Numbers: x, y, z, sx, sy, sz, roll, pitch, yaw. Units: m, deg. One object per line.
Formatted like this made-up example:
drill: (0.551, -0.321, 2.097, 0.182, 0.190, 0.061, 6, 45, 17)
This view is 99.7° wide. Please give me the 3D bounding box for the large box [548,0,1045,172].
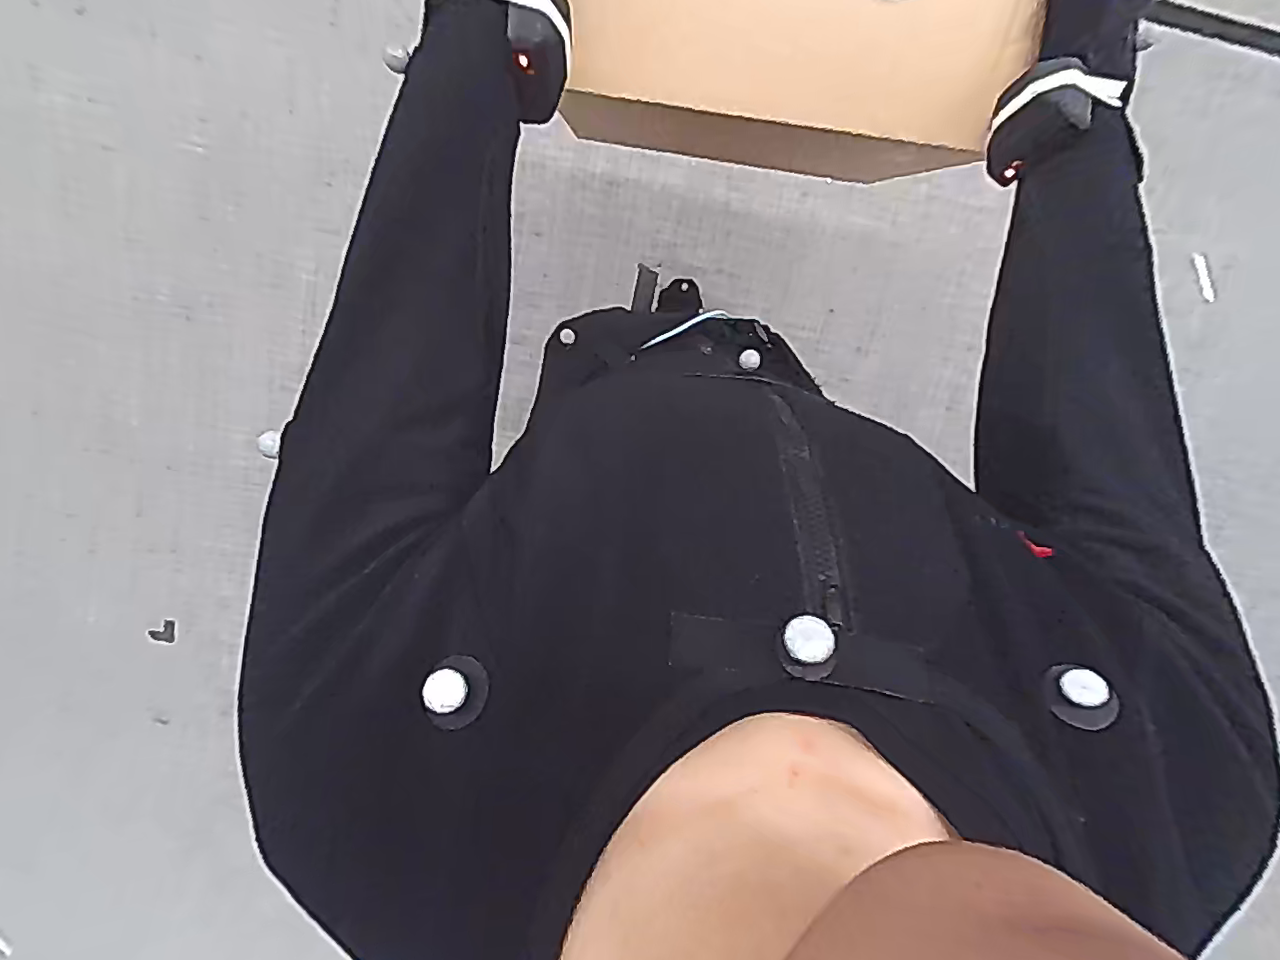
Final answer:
large box: (0.131, -0.513, 0.534, 0.408, 0.320, 0.320, 6, 116, -4)
